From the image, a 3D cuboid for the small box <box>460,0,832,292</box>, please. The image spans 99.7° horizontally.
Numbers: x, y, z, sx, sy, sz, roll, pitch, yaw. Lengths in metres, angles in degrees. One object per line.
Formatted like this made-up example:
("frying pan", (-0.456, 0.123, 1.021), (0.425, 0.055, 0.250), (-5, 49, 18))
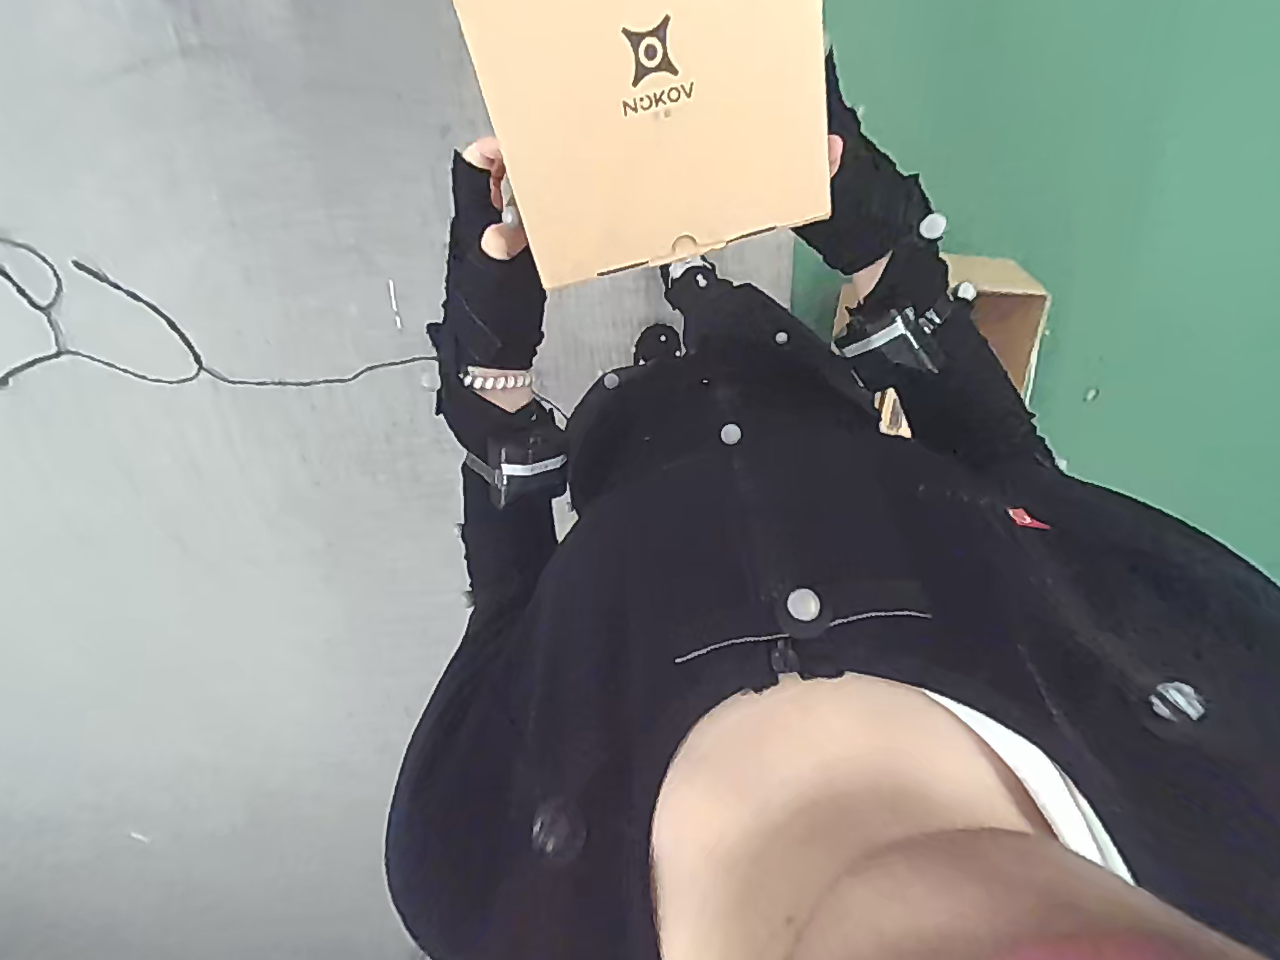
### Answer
("small box", (0.000, -0.236, 0.329), (0.168, 0.176, 0.179), (-15, 121, 3))
